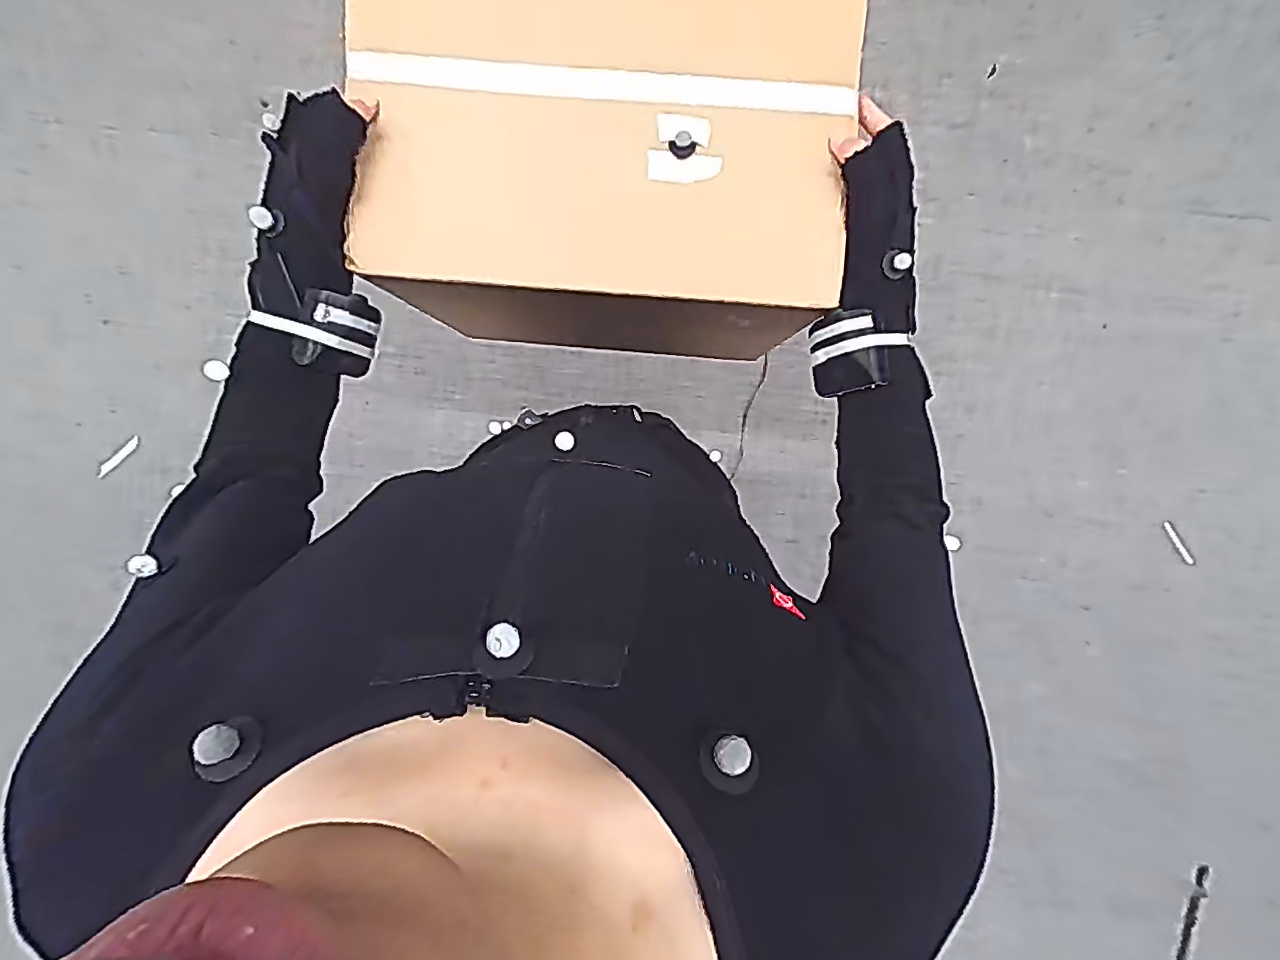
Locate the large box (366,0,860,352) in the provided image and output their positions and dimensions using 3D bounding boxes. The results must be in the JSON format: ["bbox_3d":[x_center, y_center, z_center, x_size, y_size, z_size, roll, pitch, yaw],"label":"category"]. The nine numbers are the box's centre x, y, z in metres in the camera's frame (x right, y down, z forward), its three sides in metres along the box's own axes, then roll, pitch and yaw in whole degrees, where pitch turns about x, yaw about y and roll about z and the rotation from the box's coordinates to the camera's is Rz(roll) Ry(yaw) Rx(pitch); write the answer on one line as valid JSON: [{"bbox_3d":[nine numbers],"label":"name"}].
[{"bbox_3d":[-0.025,-0.329,0.592,0.408,0.320,0.320,4,95,-1],"label":"large box"}]
